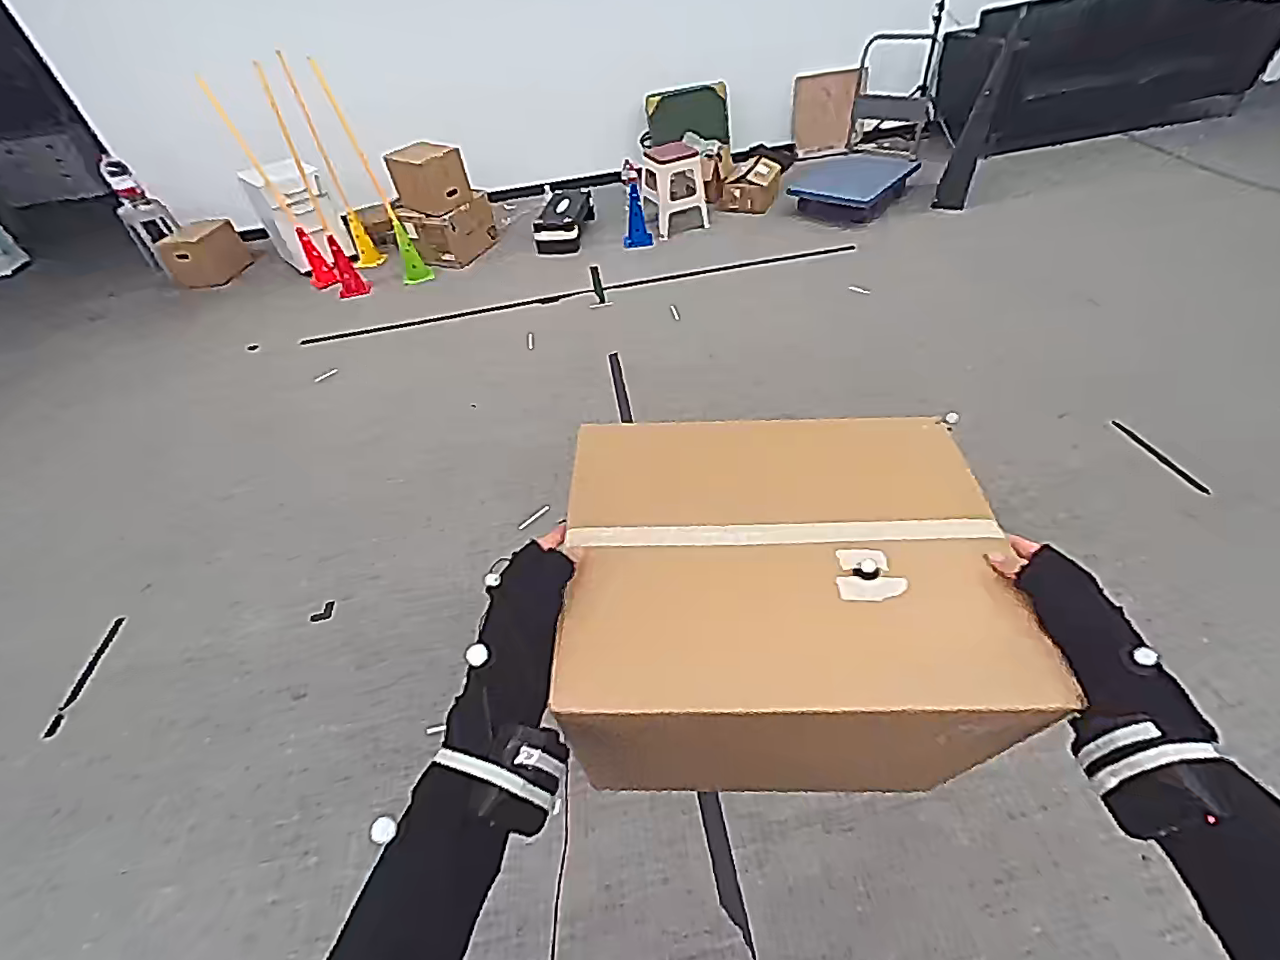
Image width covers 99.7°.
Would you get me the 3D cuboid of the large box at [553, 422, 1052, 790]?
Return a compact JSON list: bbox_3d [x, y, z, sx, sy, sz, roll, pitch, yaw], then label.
[{"bbox_3d":[0.129,0.153,0.634,0.408,0.320,0.320,-2,50,1],"label":"large box"}]
